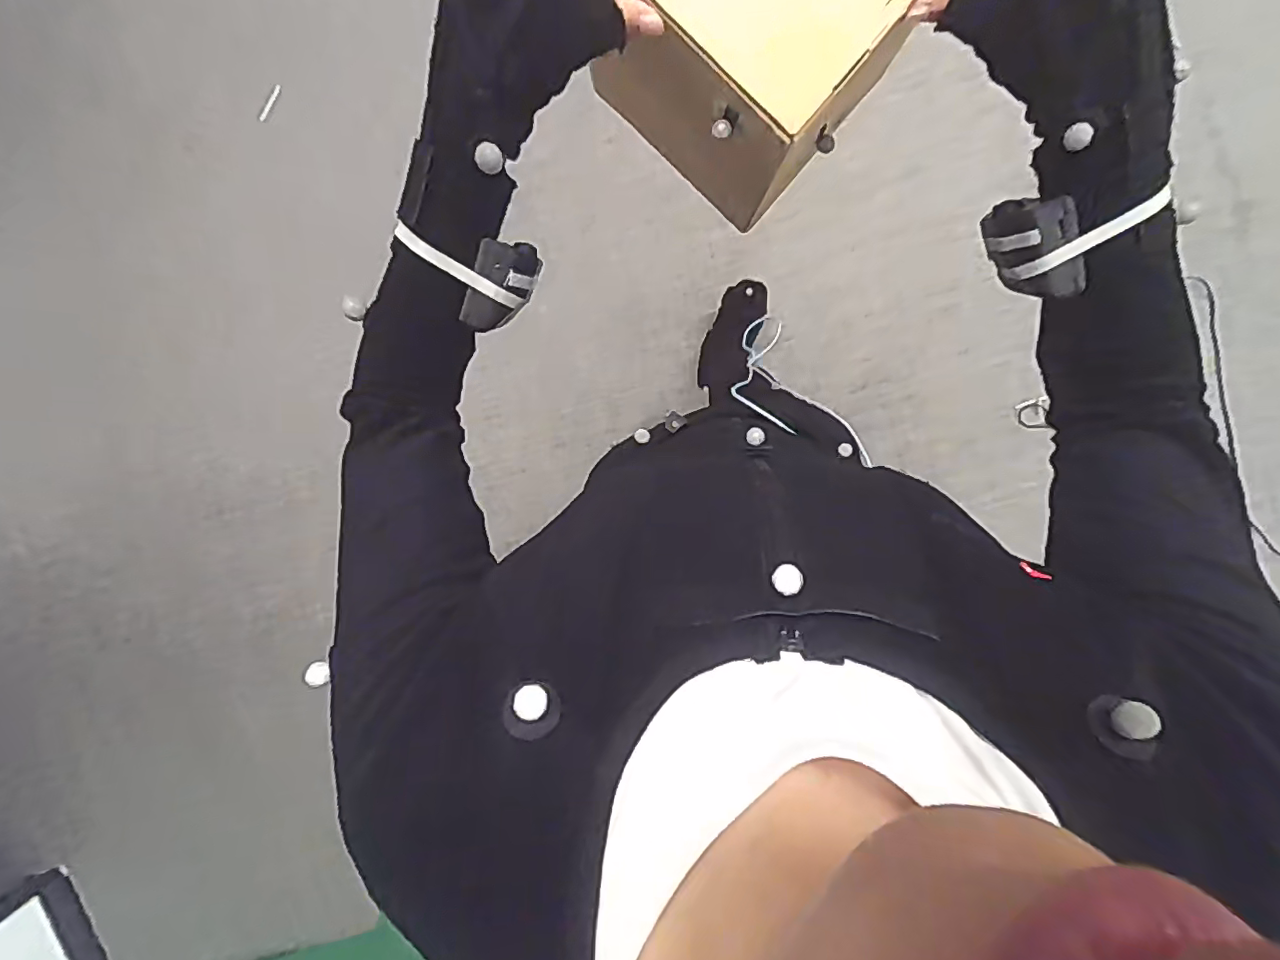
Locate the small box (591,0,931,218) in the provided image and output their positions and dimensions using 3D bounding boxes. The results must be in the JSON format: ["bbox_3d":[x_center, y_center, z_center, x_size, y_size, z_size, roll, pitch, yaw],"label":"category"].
[{"bbox_3d":[0.077,-0.319,0.371,0.179,0.176,0.168,41,97,-5],"label":"small box"}]
